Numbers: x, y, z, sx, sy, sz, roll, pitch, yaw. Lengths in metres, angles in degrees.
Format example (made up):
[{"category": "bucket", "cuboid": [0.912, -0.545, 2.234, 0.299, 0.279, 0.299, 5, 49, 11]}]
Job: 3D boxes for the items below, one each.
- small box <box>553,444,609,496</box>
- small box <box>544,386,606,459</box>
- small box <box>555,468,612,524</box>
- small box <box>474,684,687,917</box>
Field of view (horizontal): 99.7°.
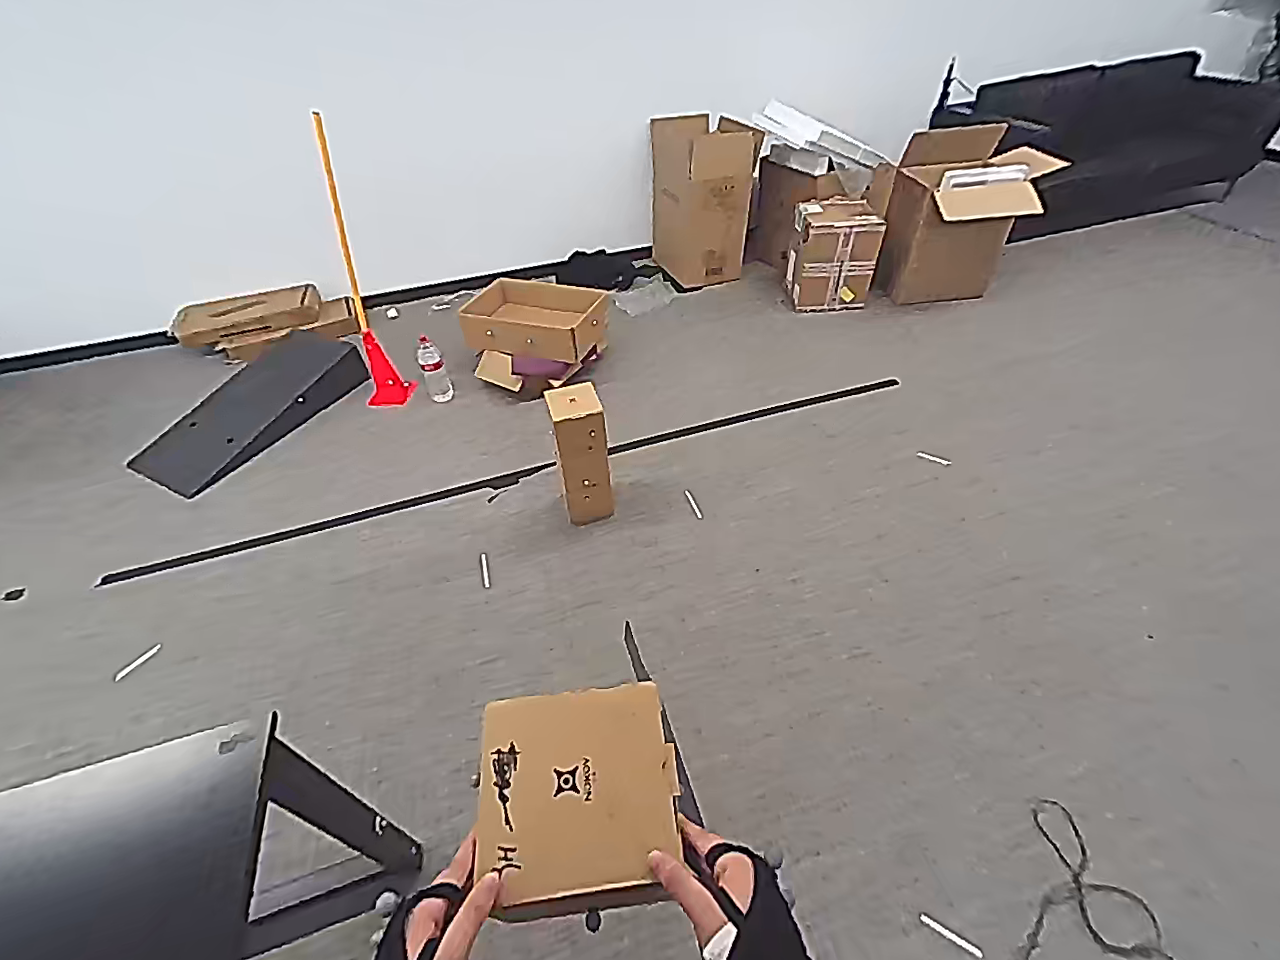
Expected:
[{"category": "small box", "cuboid": [-0.213, -0.069, 1.926, 0.168, 0.176, 0.179, -14, 46, -11]}, {"category": "small box", "cuboid": [-0.217, -0.188, 1.815, 0.168, 0.176, 0.179, -14, 44, -12]}, {"category": "small box", "cuboid": [-0.211, 0.046, 2.044, 0.179, 0.176, 0.168, -13, 45, -11]}, {"category": "small box", "cuboid": [-0.057, 0.326, 0.549, 0.179, 0.176, 0.168, -4, 48, -5]}]
